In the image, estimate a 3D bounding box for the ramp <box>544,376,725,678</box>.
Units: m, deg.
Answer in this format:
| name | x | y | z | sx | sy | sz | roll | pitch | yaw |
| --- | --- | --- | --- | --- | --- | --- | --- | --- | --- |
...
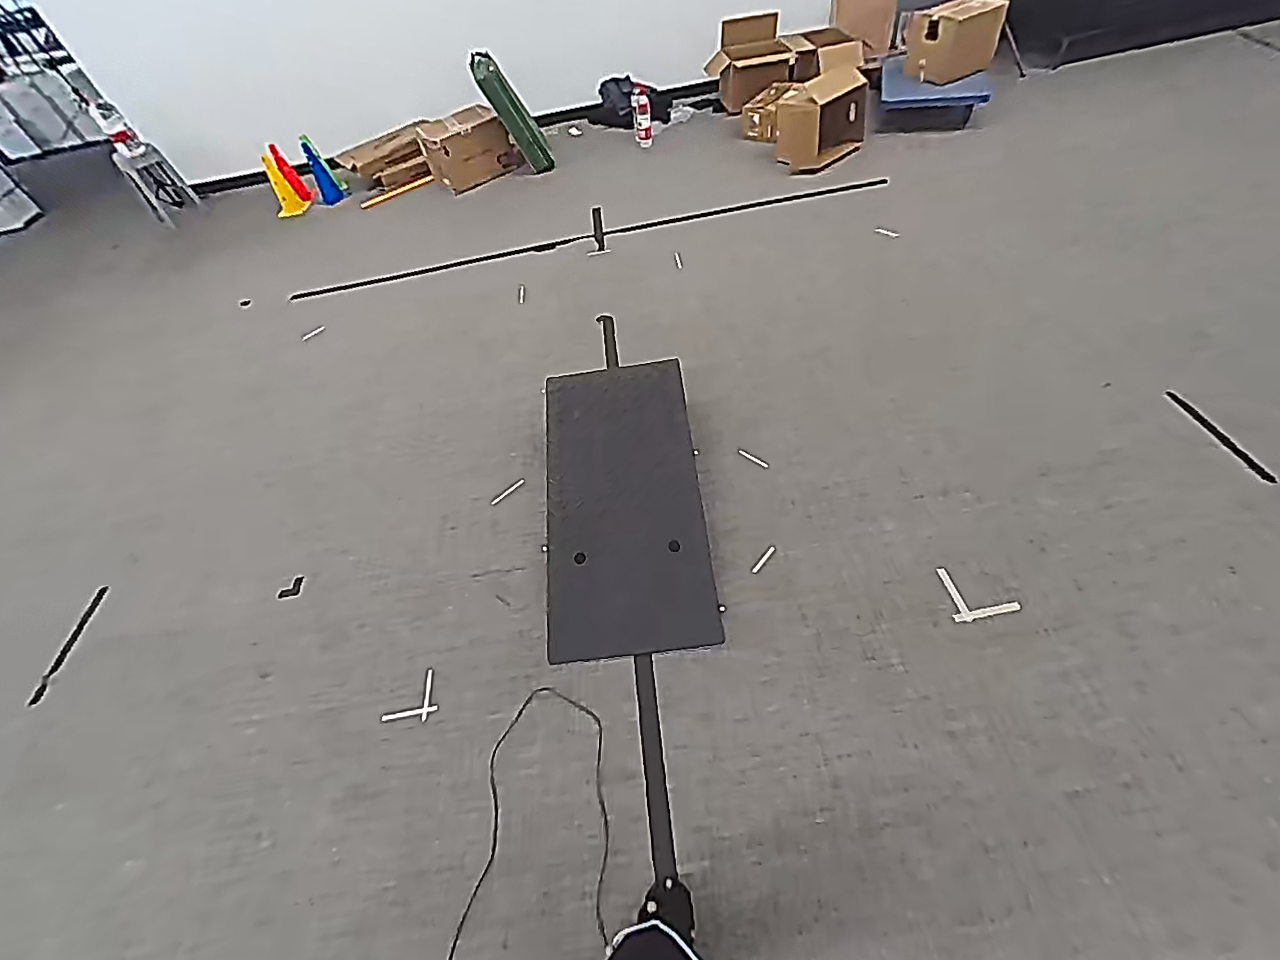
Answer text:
| name | x | y | z | sx | sy | sz | roll | pitch | yaw |
| --- | --- | --- | --- | --- | --- | --- | --- | --- | --- |
| ramp | -0.057 | 0.086 | 1.734 | 0.509 | 0.206 | 0.991 | -10 | 49 | 1 |
